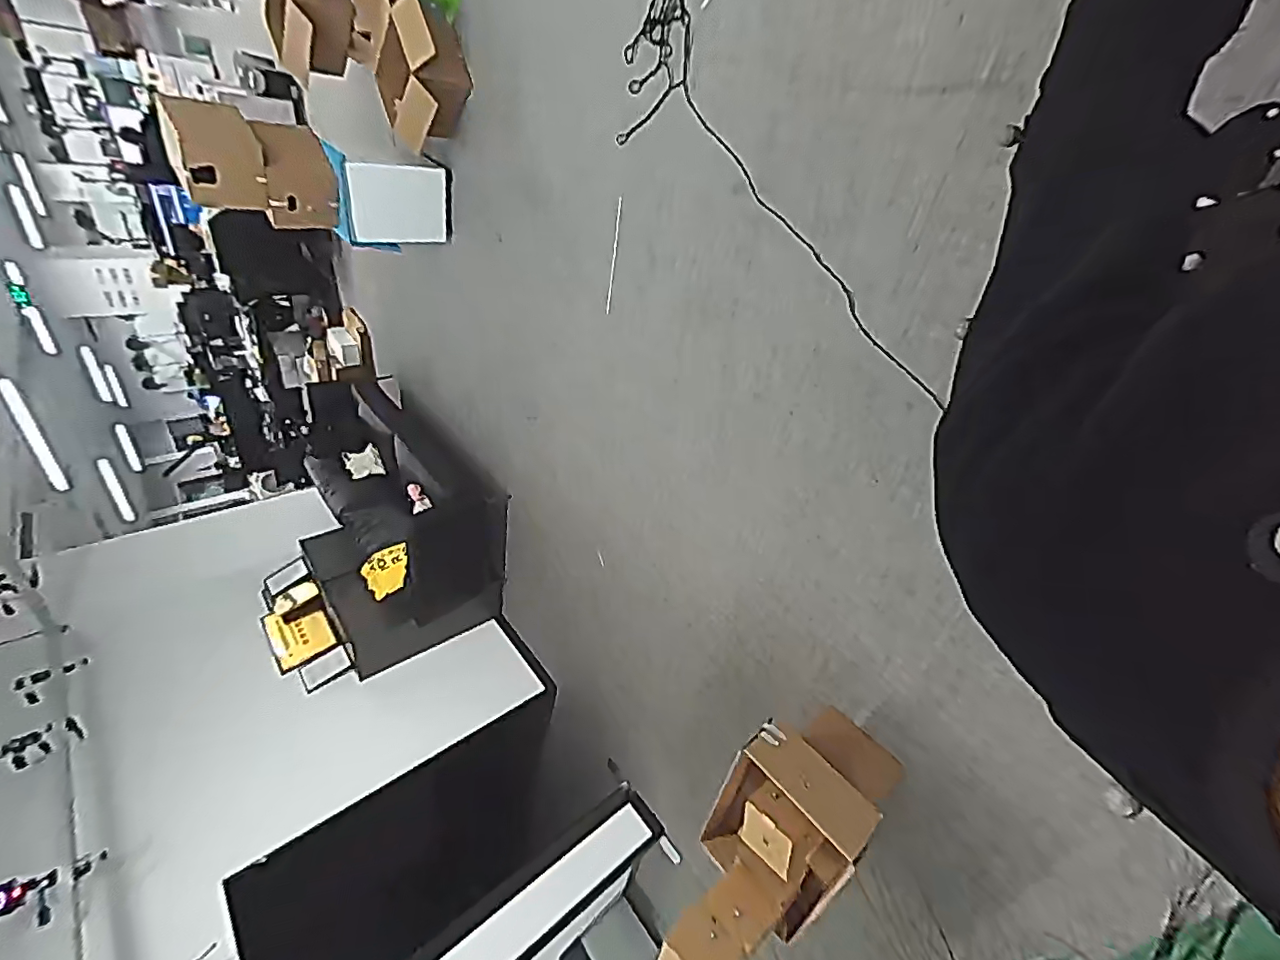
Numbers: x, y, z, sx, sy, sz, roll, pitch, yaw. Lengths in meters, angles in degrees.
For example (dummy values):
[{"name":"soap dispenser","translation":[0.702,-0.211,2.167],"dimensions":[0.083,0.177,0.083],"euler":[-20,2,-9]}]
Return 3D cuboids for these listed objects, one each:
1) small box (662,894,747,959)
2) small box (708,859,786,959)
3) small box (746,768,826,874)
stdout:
[{"name":"small box","translation":[0.188,1.363,1.566],"dimensions":[0.168,0.176,0.179],"euler":[34,129,36]},{"name":"small box","translation":[0.316,1.313,1.658],"dimensions":[0.179,0.176,0.168],"euler":[32,128,37]},{"name":"small box","translation":[0.445,1.025,1.642],"dimensions":[0.168,0.176,0.179],"euler":[25,124,44]}]
